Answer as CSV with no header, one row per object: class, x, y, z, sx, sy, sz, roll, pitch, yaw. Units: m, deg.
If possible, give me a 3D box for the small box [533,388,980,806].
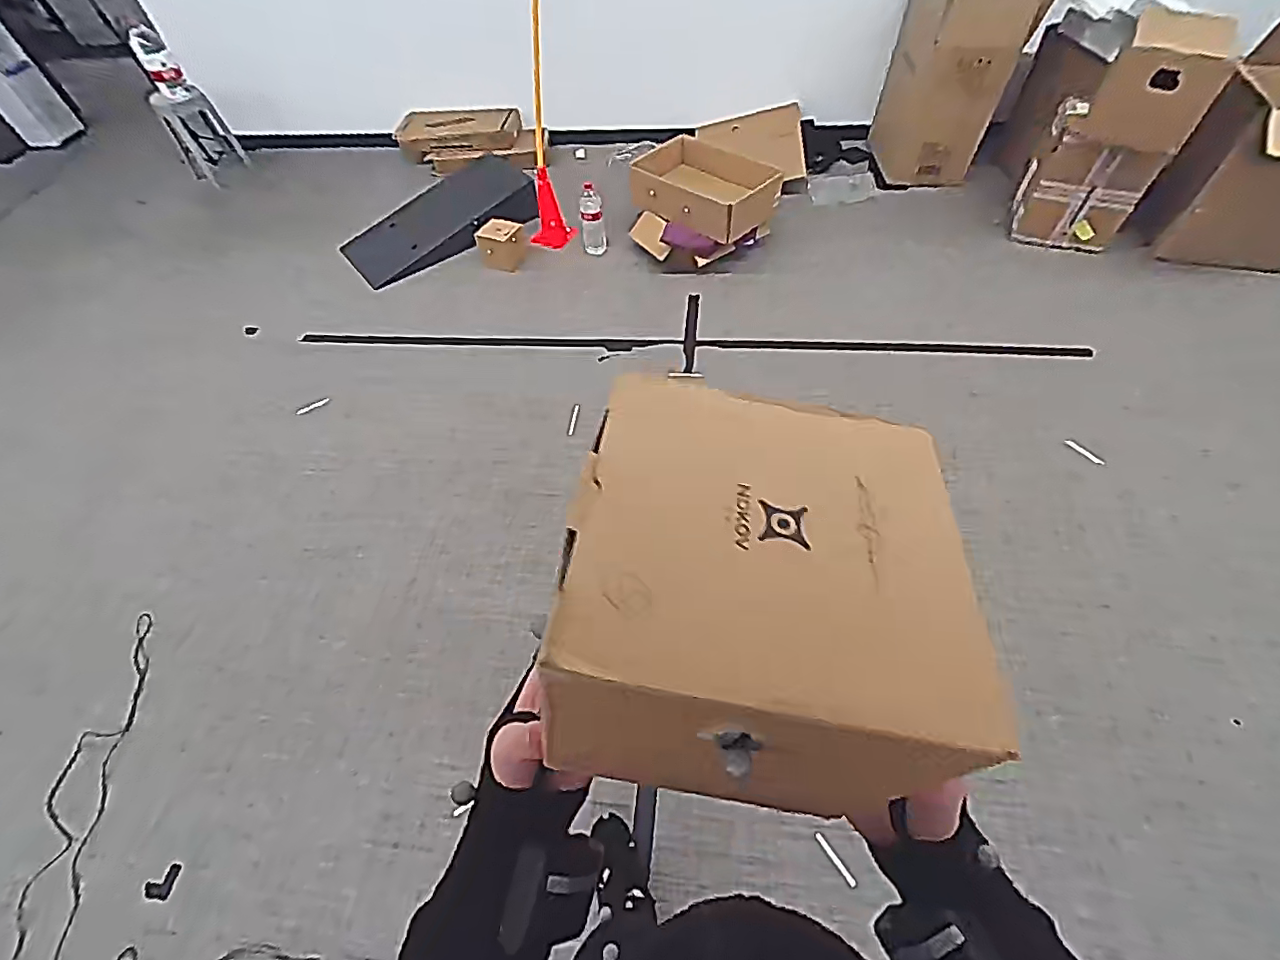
small box,0.046,0.074,0.315,0.179,0.176,0.168,11,51,0
